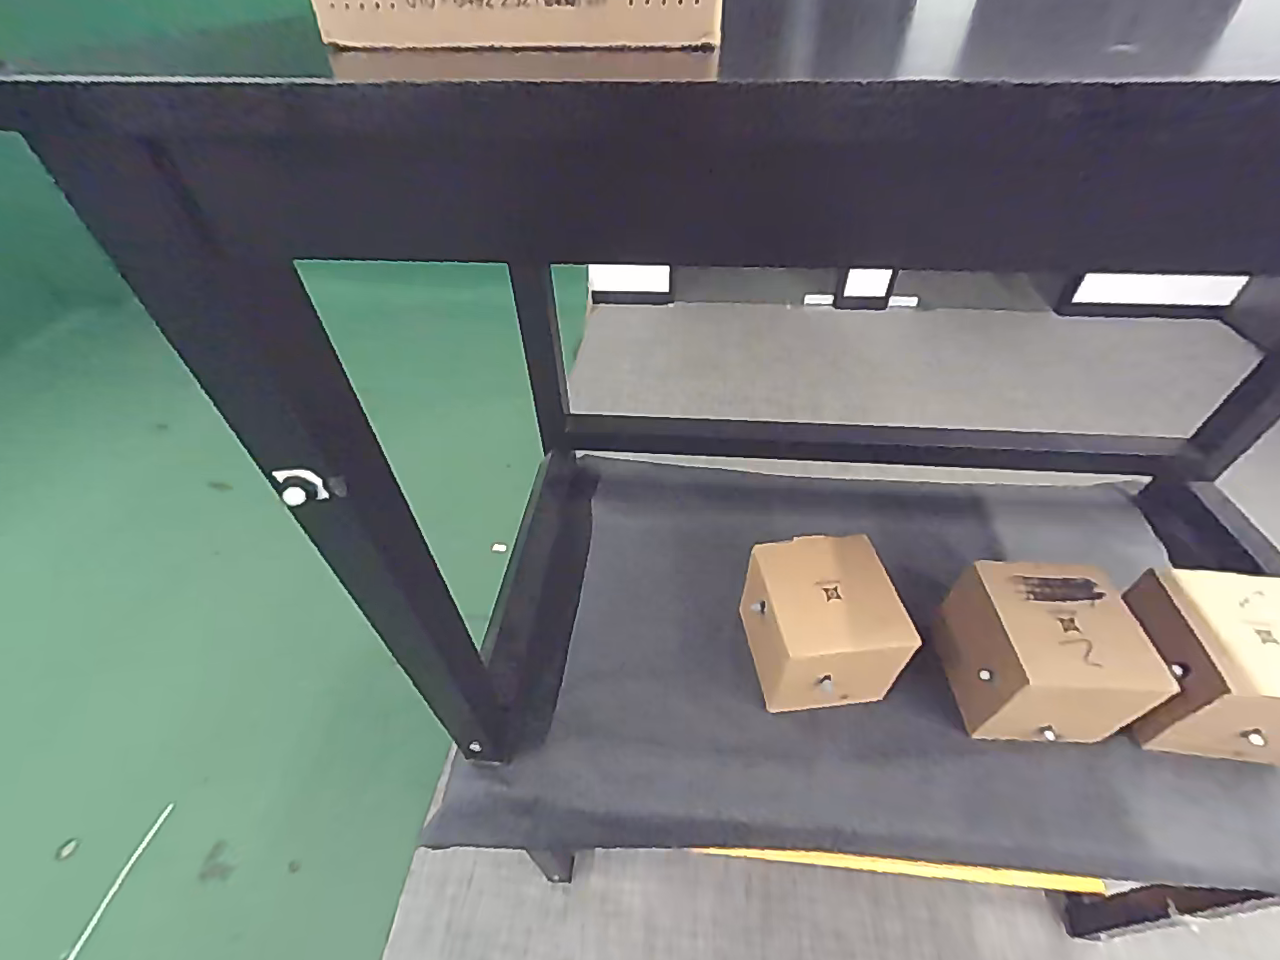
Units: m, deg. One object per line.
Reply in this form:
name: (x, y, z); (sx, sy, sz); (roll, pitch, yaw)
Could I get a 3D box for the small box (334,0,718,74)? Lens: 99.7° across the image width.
small box: (-0.046, -0.292, 0.229); (0.168, 0.176, 0.179); (3, 45, 5)

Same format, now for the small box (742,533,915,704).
small box: (0.249, 0.200, 0.763); (0.168, 0.176, 0.179); (-5, 44, -3)
